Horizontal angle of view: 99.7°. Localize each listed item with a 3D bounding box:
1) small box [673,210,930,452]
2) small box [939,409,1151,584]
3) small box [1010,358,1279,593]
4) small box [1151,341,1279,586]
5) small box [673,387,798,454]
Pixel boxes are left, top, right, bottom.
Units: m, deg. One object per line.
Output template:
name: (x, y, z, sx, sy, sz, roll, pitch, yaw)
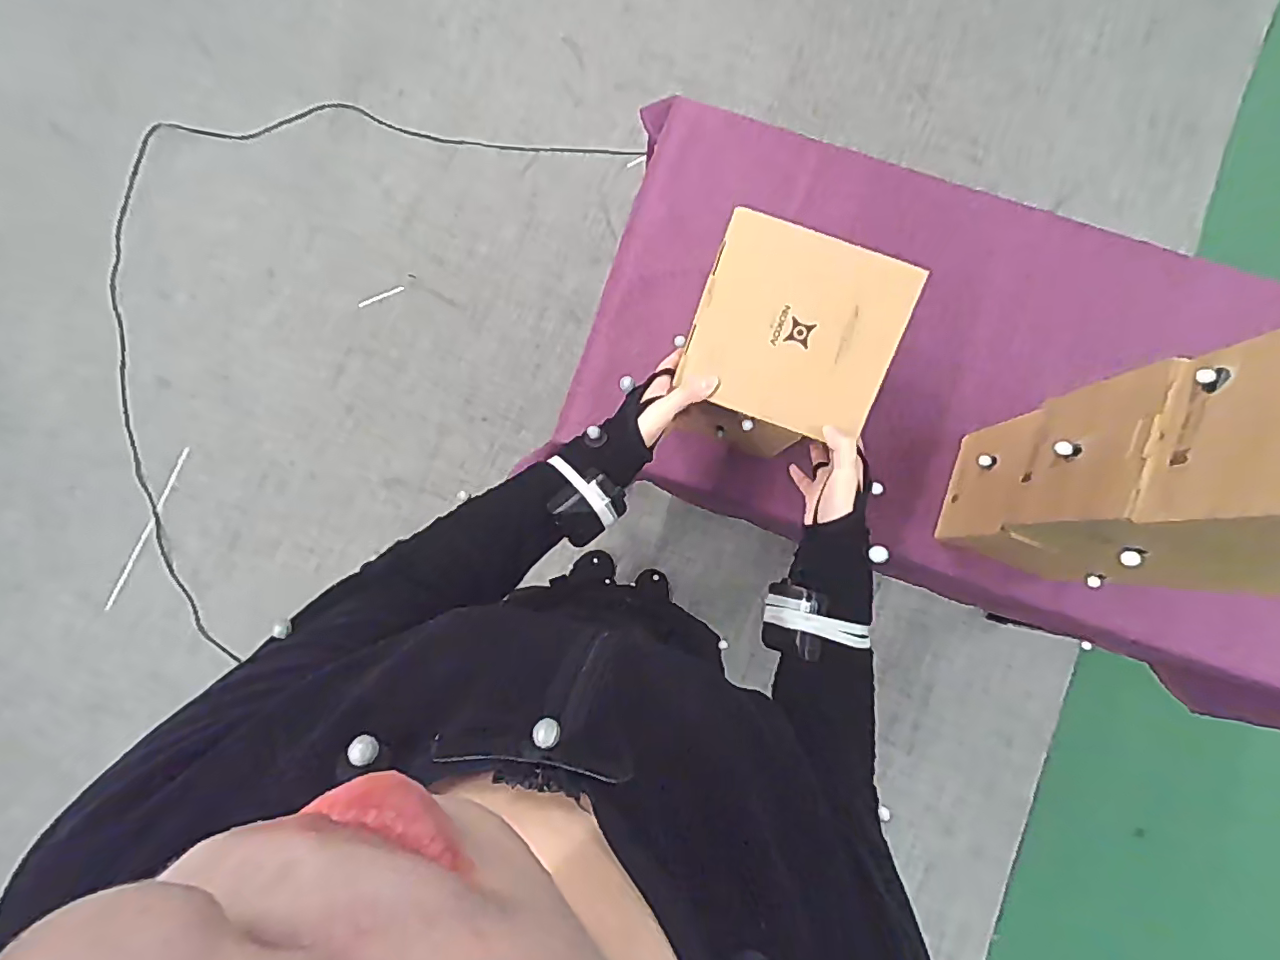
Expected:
small box: (0.145, -0.141, 0.550, 0.179, 0.176, 0.168, 20, 103, 2)
small box: (0.538, 0.028, 0.717, 0.179, 0.176, 0.168, 21, 84, 2)
small box: (0.532, 0.006, 0.554, 0.179, 0.176, 0.168, 24, 84, 3)
small box: (0.541, -0.009, 0.390, 0.179, 0.176, 0.168, 25, 84, 1)
small box: (0.149, -0.149, 0.735, 0.168, 0.176, 0.179, 22, 84, 2)
